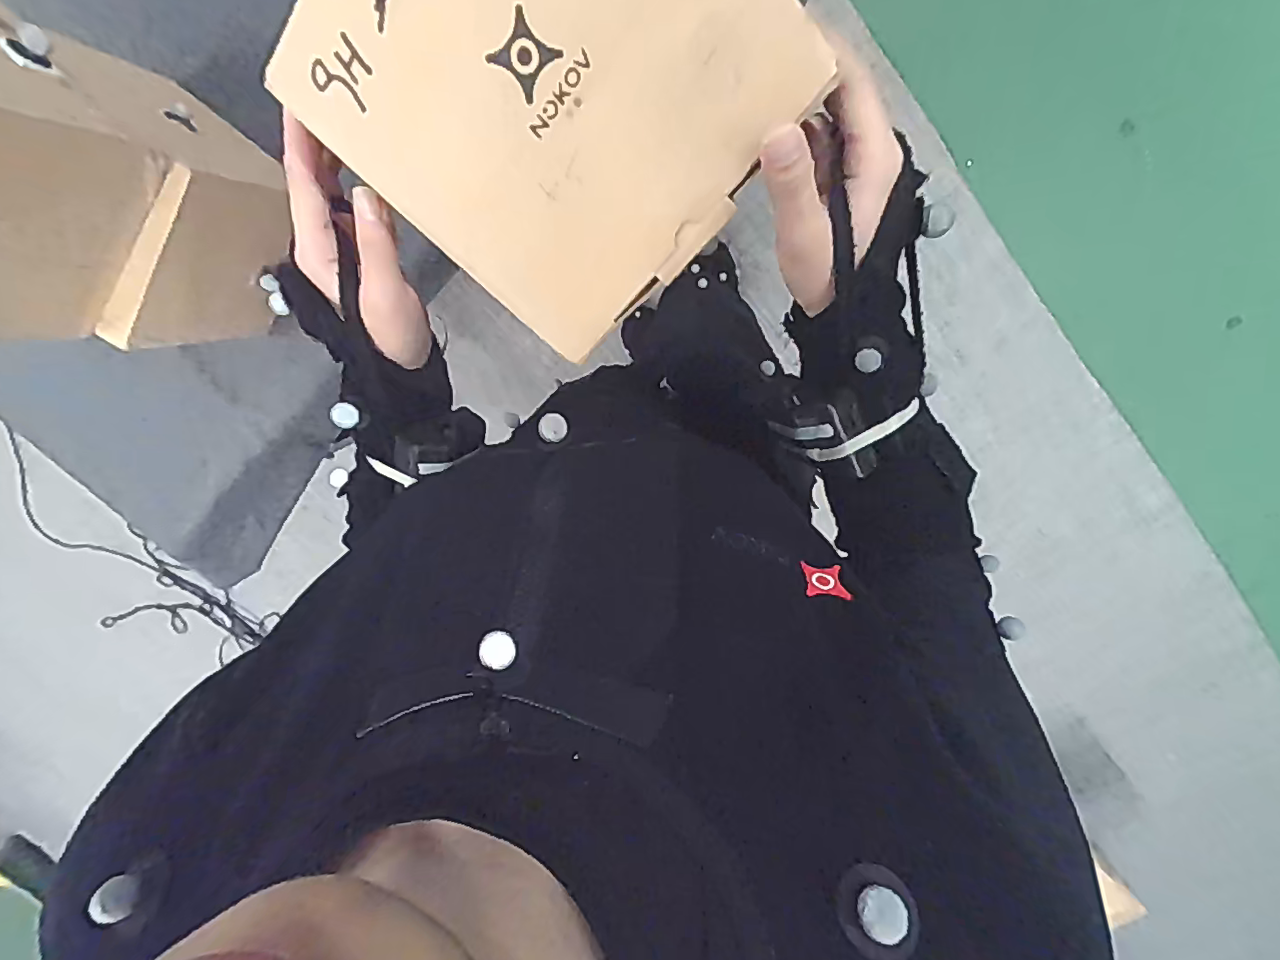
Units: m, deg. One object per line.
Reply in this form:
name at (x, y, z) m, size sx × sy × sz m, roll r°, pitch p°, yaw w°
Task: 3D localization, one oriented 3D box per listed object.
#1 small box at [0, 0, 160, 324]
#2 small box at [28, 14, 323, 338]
small box at (-0.449, -0.204, 0.317) m, size 0.168 × 0.176 × 0.179 m, roll 40°, pitch 107°, yaw -12°
small box at (-0.431, -0.248, 0.473) m, size 0.179 × 0.176 × 0.168 m, roll 37°, pitch 109°, yaw -10°
